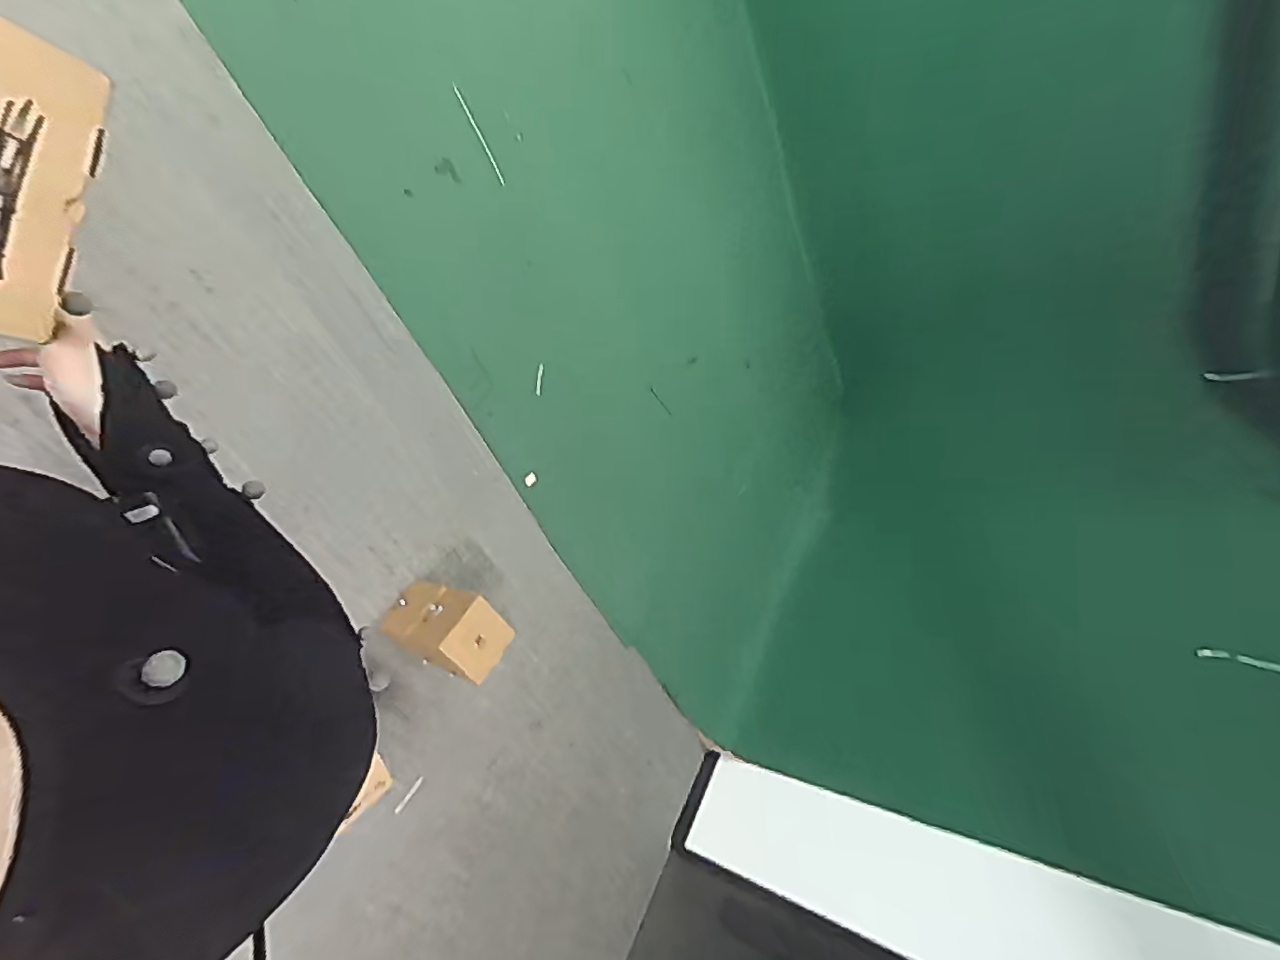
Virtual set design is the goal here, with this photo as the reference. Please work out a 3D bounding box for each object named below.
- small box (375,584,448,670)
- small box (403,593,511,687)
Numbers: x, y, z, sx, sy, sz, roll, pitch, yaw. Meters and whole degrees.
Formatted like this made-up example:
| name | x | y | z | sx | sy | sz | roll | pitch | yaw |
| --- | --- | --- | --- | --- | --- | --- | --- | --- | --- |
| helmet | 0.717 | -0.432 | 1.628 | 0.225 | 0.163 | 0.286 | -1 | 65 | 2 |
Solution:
| name | x | y | z | sx | sy | sz | roll | pitch | yaw |
| --- | --- | --- | --- | --- | --- | --- | --- | --- | --- |
| small box | -0.614 | 0.416 | 1.552 | 0.168 | 0.176 | 0.179 | -57 | 130 | -35 |
| small box | -0.489 | 0.421 | 1.450 | 0.168 | 0.176 | 0.179 | -57 | 130 | -36 |
